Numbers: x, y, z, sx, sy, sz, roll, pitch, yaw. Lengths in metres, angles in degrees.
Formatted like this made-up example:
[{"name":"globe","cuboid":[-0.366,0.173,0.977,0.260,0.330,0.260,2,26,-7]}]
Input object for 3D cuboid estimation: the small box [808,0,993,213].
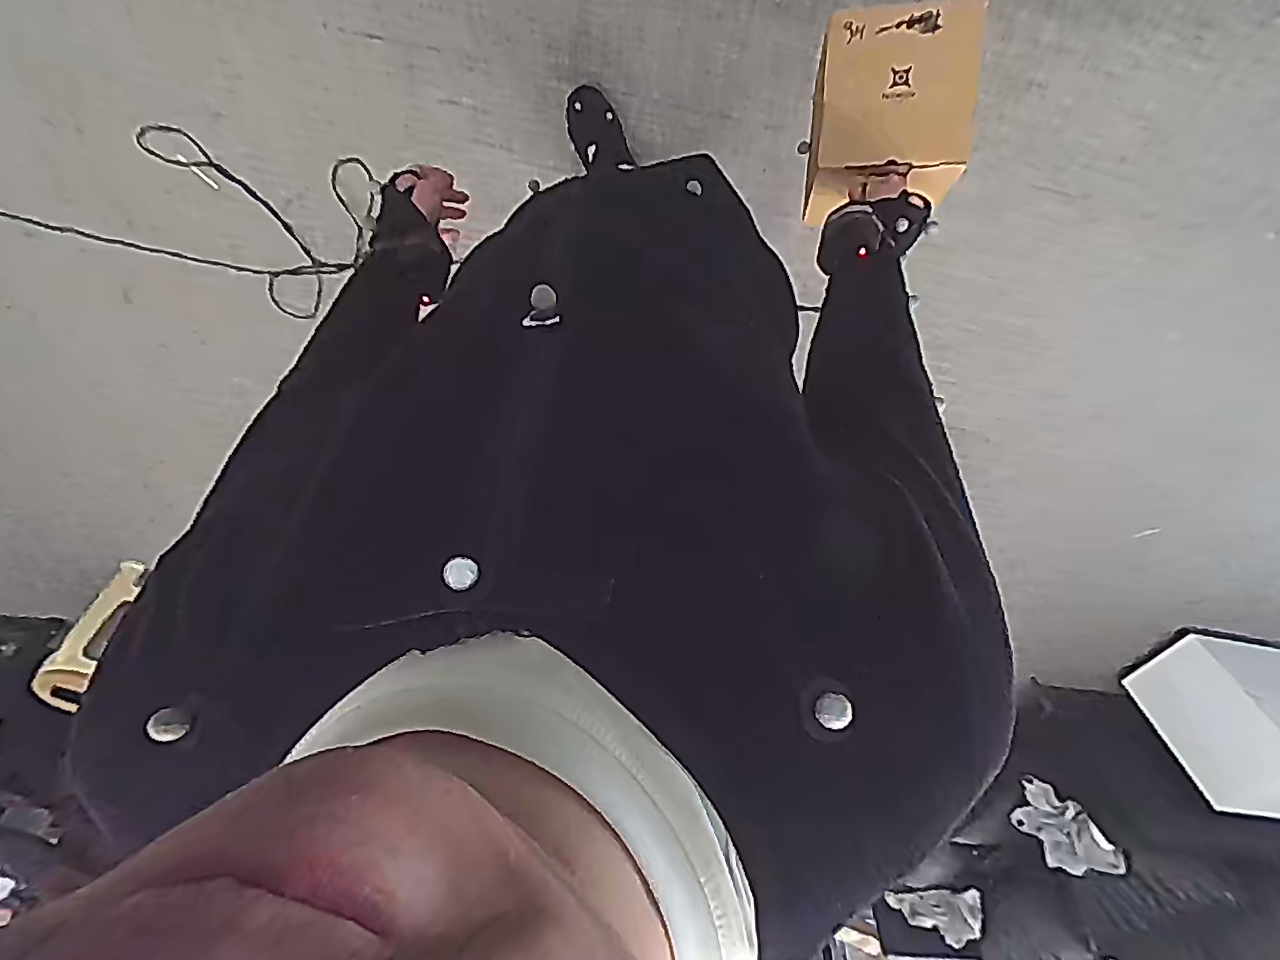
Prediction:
[{"name":"small box","cuboid":[0.309,-0.452,0.681,0.168,0.176,0.179,5,98,11]}]
